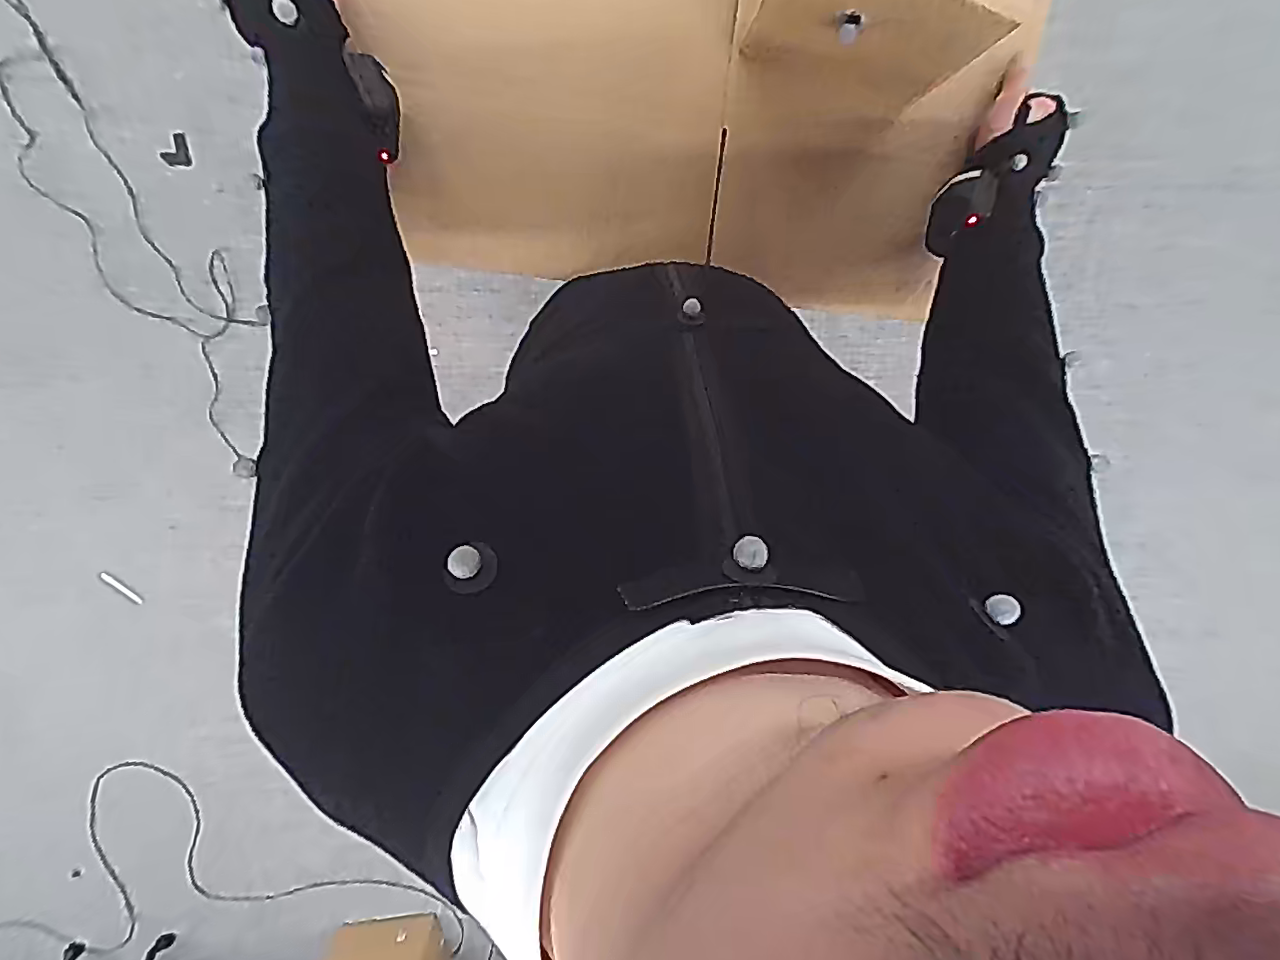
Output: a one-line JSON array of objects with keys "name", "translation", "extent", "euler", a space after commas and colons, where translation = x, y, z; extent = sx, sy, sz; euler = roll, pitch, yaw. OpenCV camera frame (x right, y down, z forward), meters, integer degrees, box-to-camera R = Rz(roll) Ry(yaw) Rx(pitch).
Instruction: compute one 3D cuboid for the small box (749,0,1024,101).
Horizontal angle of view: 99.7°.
[{"name": "small box", "translation": [0.204, -0.444, 0.432], "extent": [0.179, 0.176, 0.168], "euler": [15, 105, -6]}]
